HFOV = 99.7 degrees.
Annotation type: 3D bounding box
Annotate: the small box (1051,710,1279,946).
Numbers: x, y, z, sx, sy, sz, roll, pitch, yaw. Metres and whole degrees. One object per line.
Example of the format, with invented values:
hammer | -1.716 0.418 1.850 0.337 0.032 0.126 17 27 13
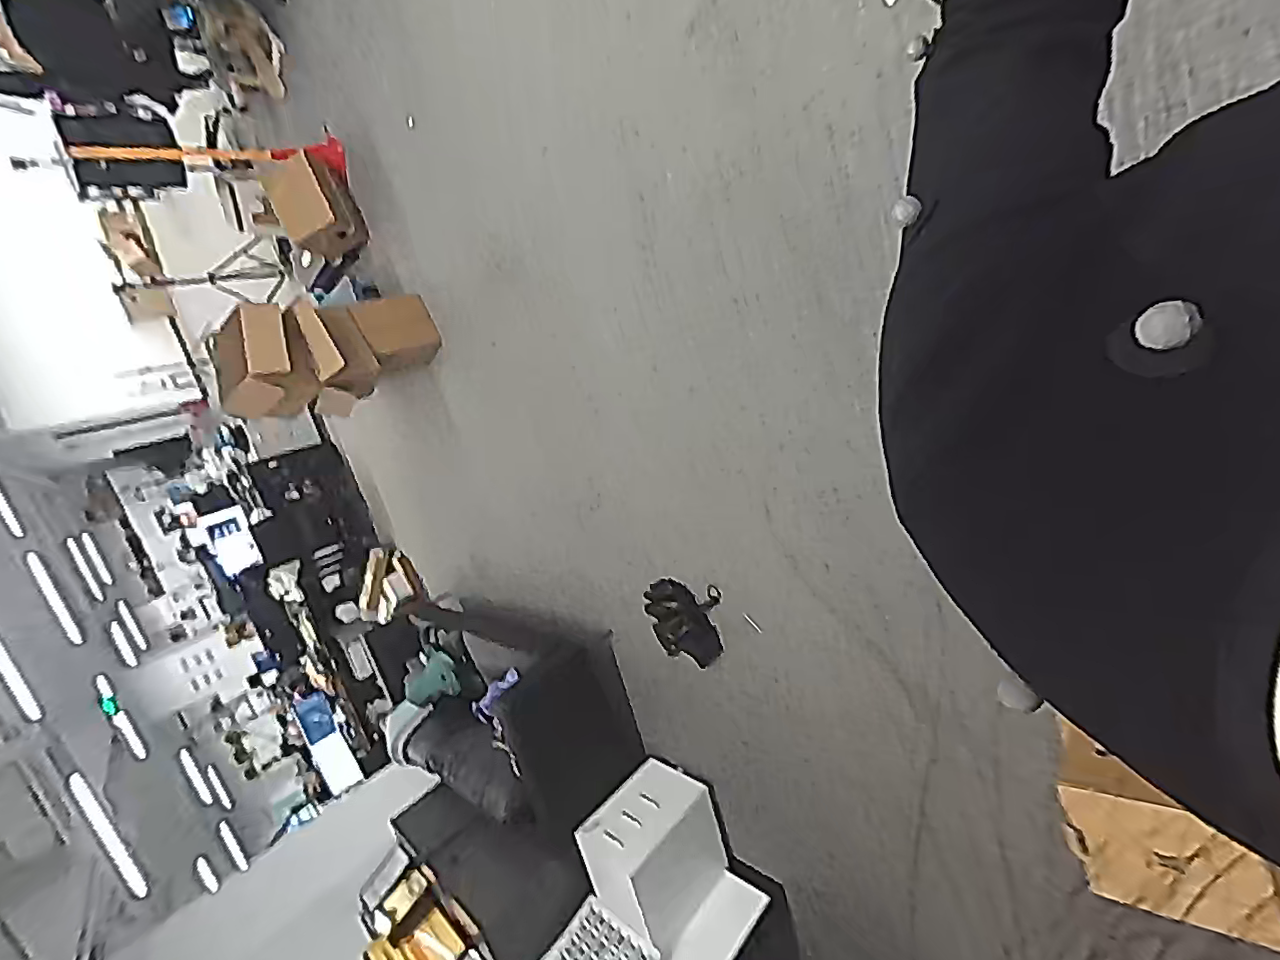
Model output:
small box | 0.673 0.422 0.696 0.179 0.176 0.168 -18 95 49
